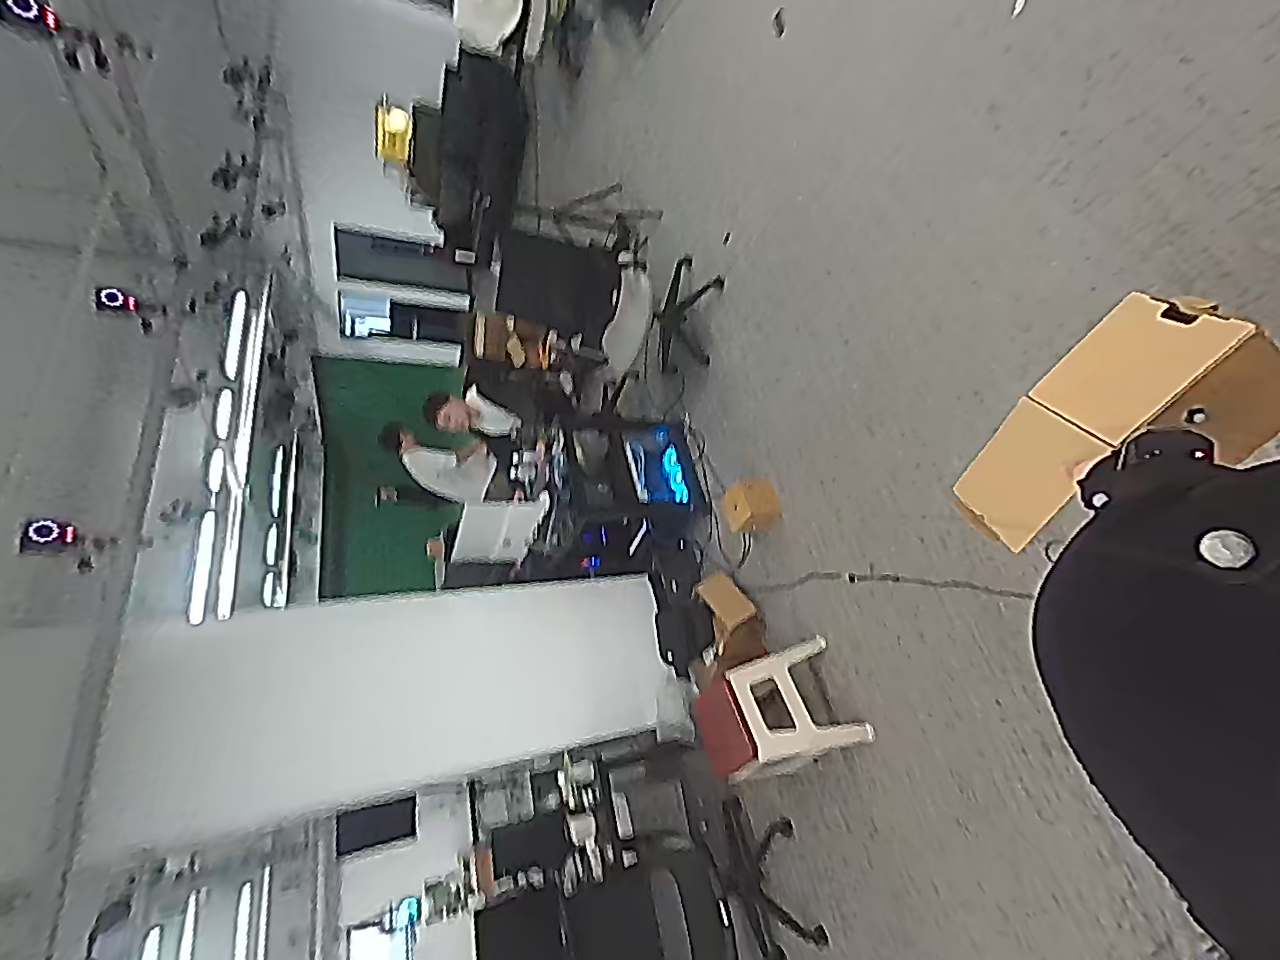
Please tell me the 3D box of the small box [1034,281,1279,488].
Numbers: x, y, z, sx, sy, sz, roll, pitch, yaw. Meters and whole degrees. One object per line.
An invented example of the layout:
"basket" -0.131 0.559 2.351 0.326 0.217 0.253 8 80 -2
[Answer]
"small box" 0.681 -0.119 0.698 0.179 0.176 0.168 -53 21 26
